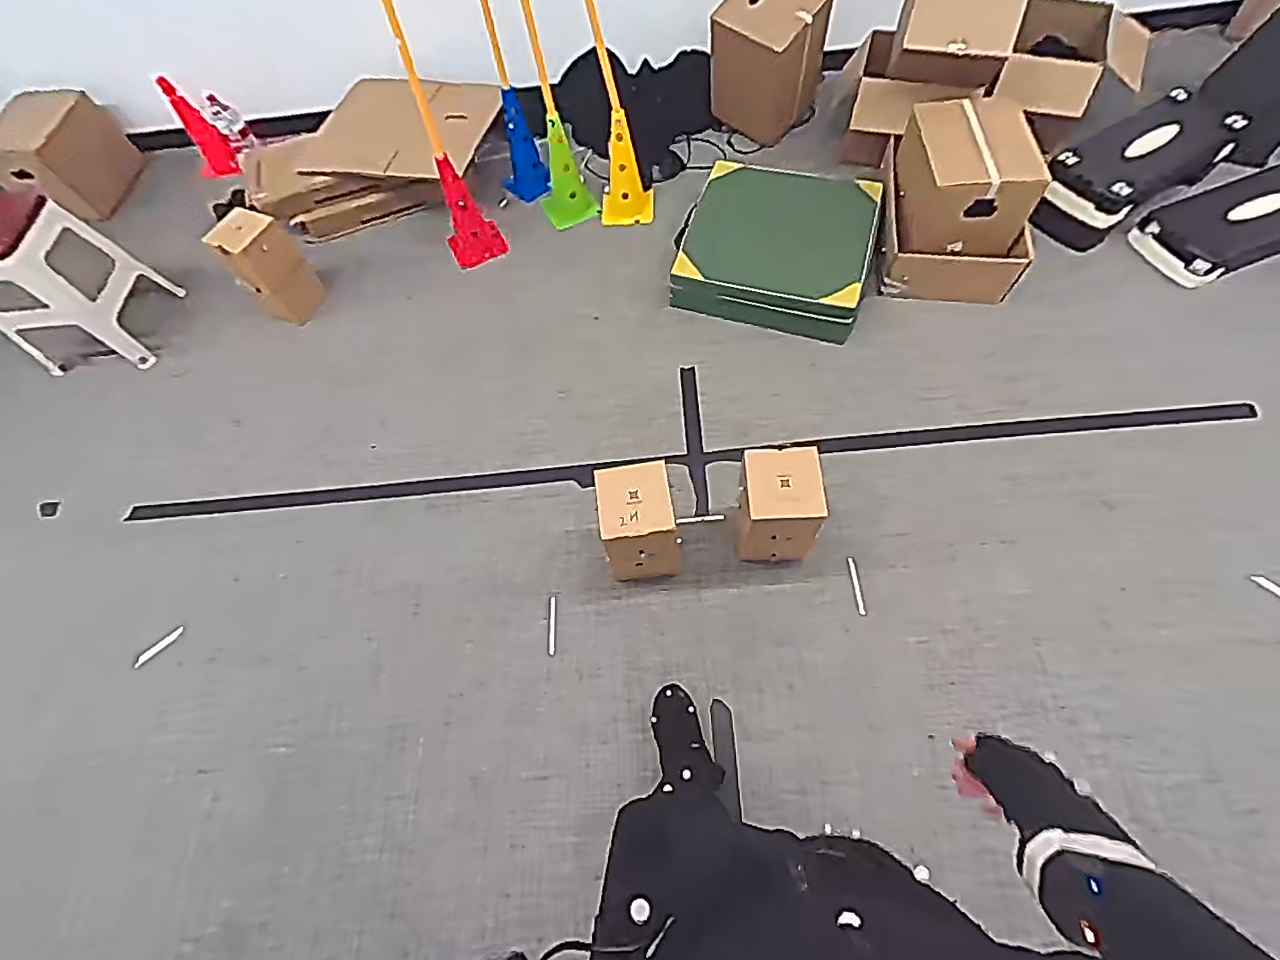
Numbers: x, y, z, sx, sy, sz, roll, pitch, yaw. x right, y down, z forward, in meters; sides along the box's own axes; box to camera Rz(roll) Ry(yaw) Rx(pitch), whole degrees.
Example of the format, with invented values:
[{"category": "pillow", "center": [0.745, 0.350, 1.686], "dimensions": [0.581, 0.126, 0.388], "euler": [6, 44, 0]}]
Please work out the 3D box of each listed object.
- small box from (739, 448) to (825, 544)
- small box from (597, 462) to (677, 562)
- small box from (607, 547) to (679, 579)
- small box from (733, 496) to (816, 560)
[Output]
[{"category": "small box", "center": [0.327, 0.041, 1.279], "dimensions": [0.168, 0.176, 0.179], "euler": [-2, 65, 5]}, {"category": "small box", "center": [-0.006, 0.079, 1.284], "dimensions": [0.168, 0.176, 0.179], "euler": [-8, 64, 1]}, {"category": "small box", "center": [0.006, 0.156, 1.429], "dimensions": [0.179, 0.176, 0.168], "euler": [-7, 64, 1]}, {"category": "small box", "center": [0.347, 0.109, 1.426], "dimensions": [0.179, 0.176, 0.168], "euler": [-1, 63, 3]}]
